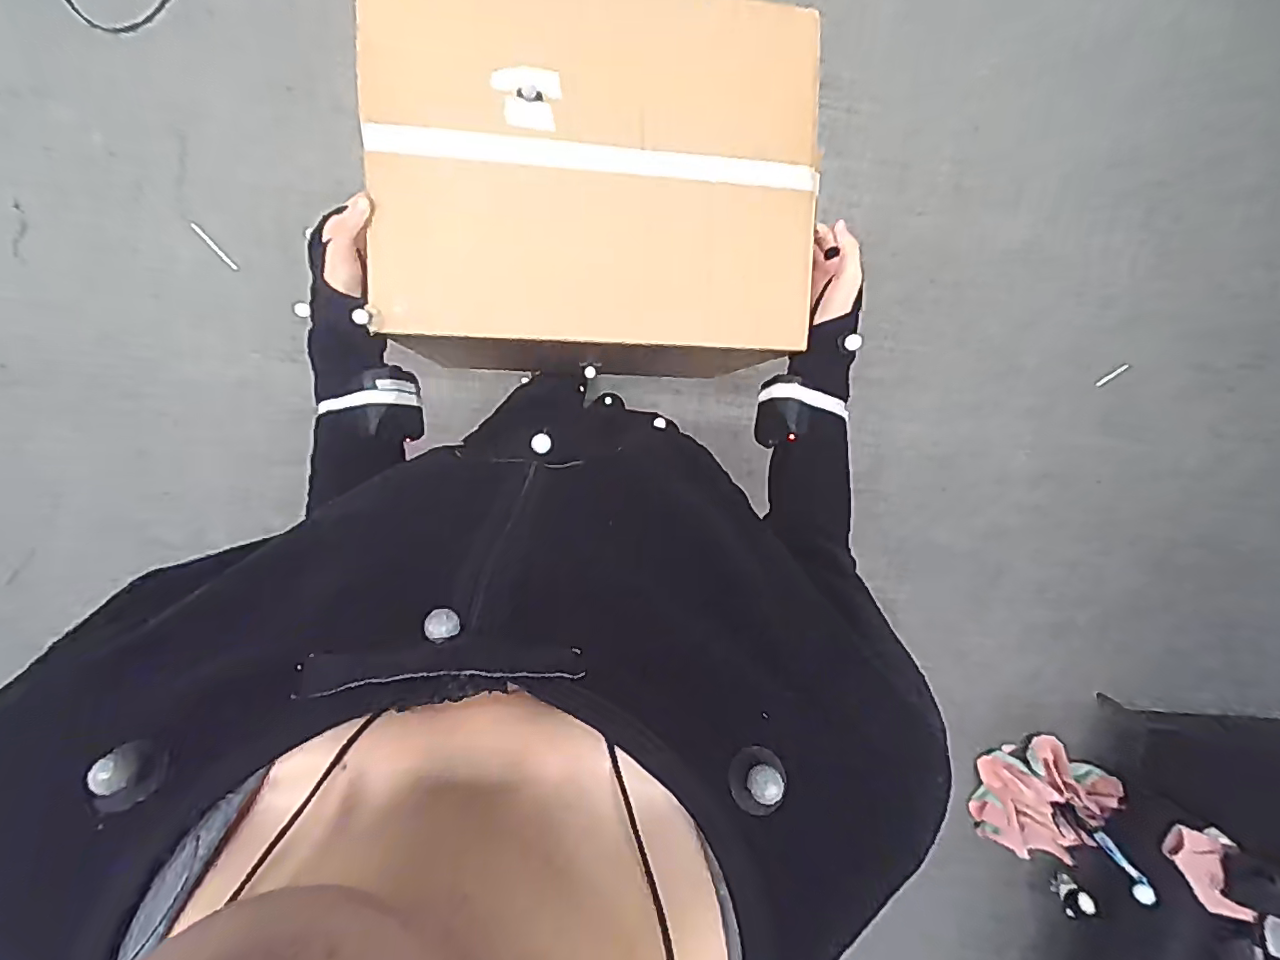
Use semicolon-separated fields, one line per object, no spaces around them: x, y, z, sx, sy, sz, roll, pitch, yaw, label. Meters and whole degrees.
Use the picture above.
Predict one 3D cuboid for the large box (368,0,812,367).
-0.054;-0.302;0.642;0.408;0.320;0.320;0;96;-9;large box
